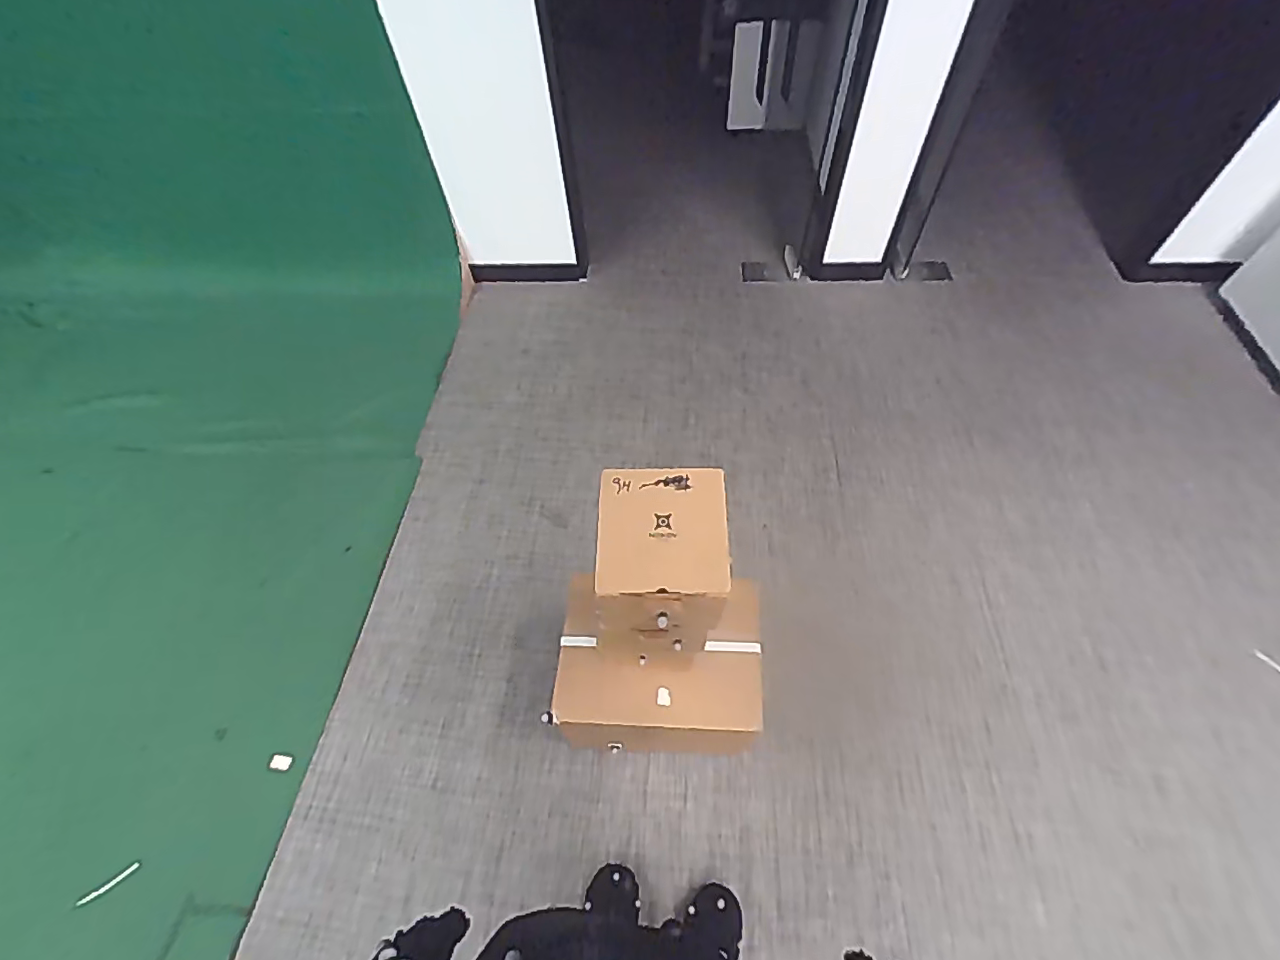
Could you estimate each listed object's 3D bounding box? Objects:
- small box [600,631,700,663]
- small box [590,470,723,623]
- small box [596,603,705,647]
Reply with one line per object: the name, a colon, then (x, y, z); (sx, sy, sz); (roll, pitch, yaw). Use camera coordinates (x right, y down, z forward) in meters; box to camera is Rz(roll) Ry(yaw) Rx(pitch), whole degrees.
small box: (0.023, 0.256, 1.048); (0.179, 0.176, 0.168); (1, 63, 4)
small box: (0.027, 0.100, 0.762); (0.168, 0.176, 0.179); (-1, 63, 3)
small box: (0.022, 0.178, 0.906); (0.168, 0.176, 0.179); (0, 61, 2)
